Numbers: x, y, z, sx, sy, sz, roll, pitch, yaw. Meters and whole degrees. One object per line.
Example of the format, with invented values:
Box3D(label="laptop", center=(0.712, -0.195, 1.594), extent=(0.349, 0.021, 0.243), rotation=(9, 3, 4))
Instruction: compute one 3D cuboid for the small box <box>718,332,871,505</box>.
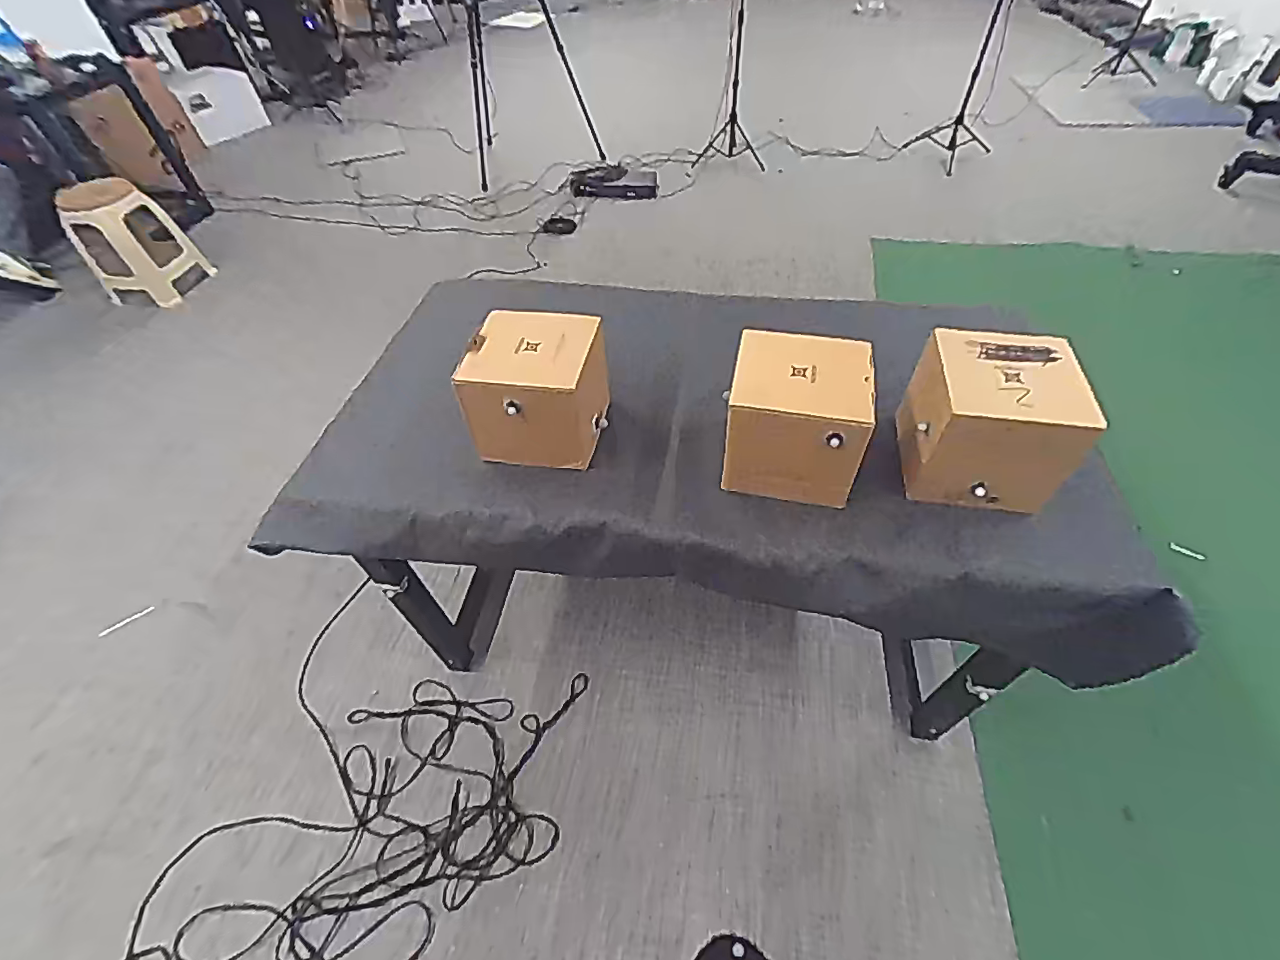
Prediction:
Box3D(label="small box", center=(0.209, -0.084, 0.759), extent=(0.179, 0.176, 0.168), rotation=(10, 50, 10))

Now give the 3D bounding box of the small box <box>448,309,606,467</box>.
Box3D(label="small box", center=(-0.156, -0.136, 0.818), extent=(0.179, 0.176, 0.168), rotation=(7, 51, 7))
